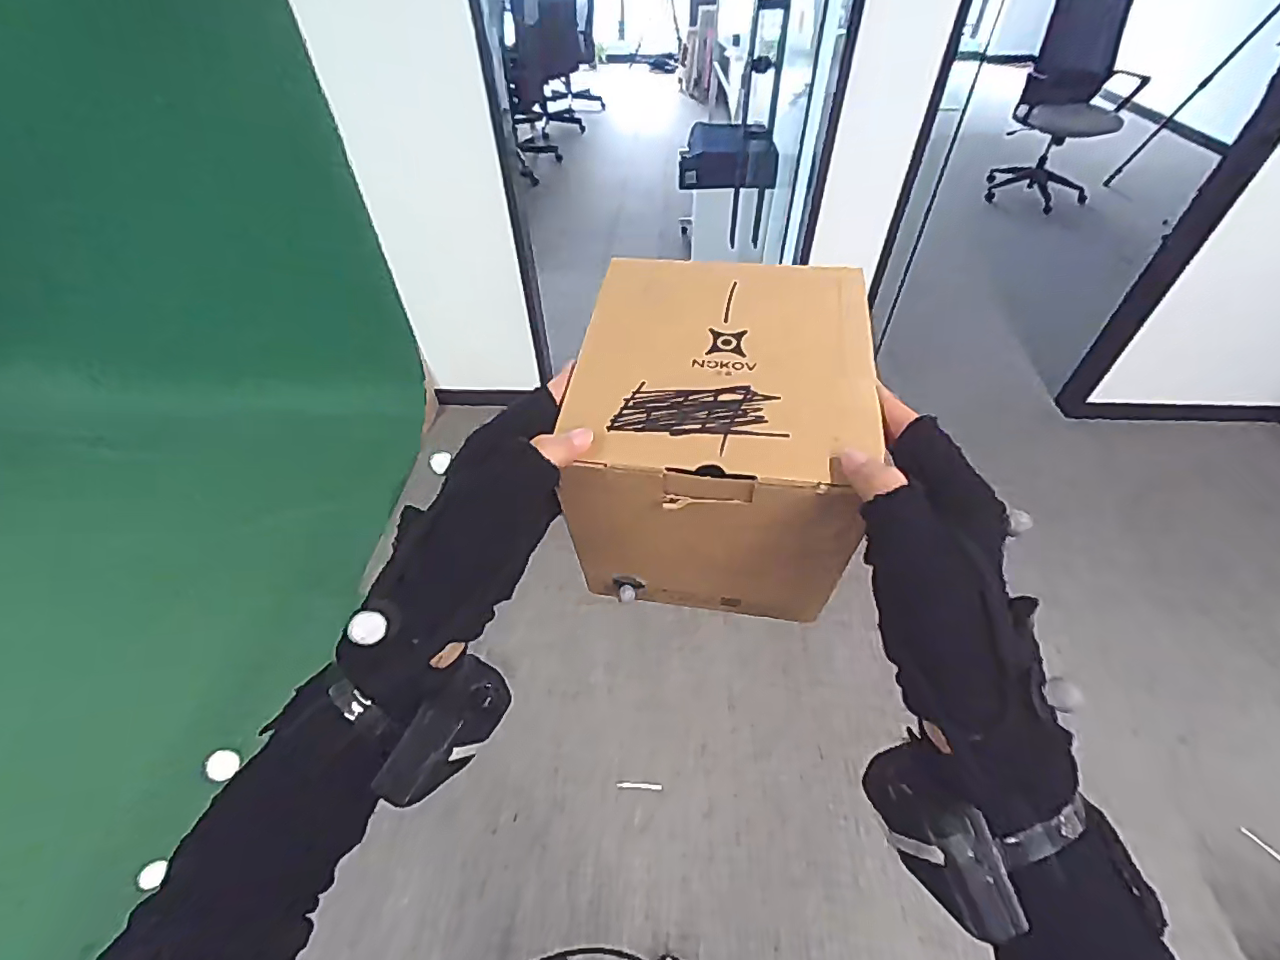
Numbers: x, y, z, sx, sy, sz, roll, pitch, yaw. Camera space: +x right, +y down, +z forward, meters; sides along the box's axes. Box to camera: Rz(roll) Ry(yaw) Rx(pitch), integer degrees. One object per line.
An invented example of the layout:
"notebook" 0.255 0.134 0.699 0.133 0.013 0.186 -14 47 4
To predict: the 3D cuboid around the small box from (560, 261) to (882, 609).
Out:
"small box" 0.058 -0.027 0.380 0.168 0.176 0.179 7 55 9
